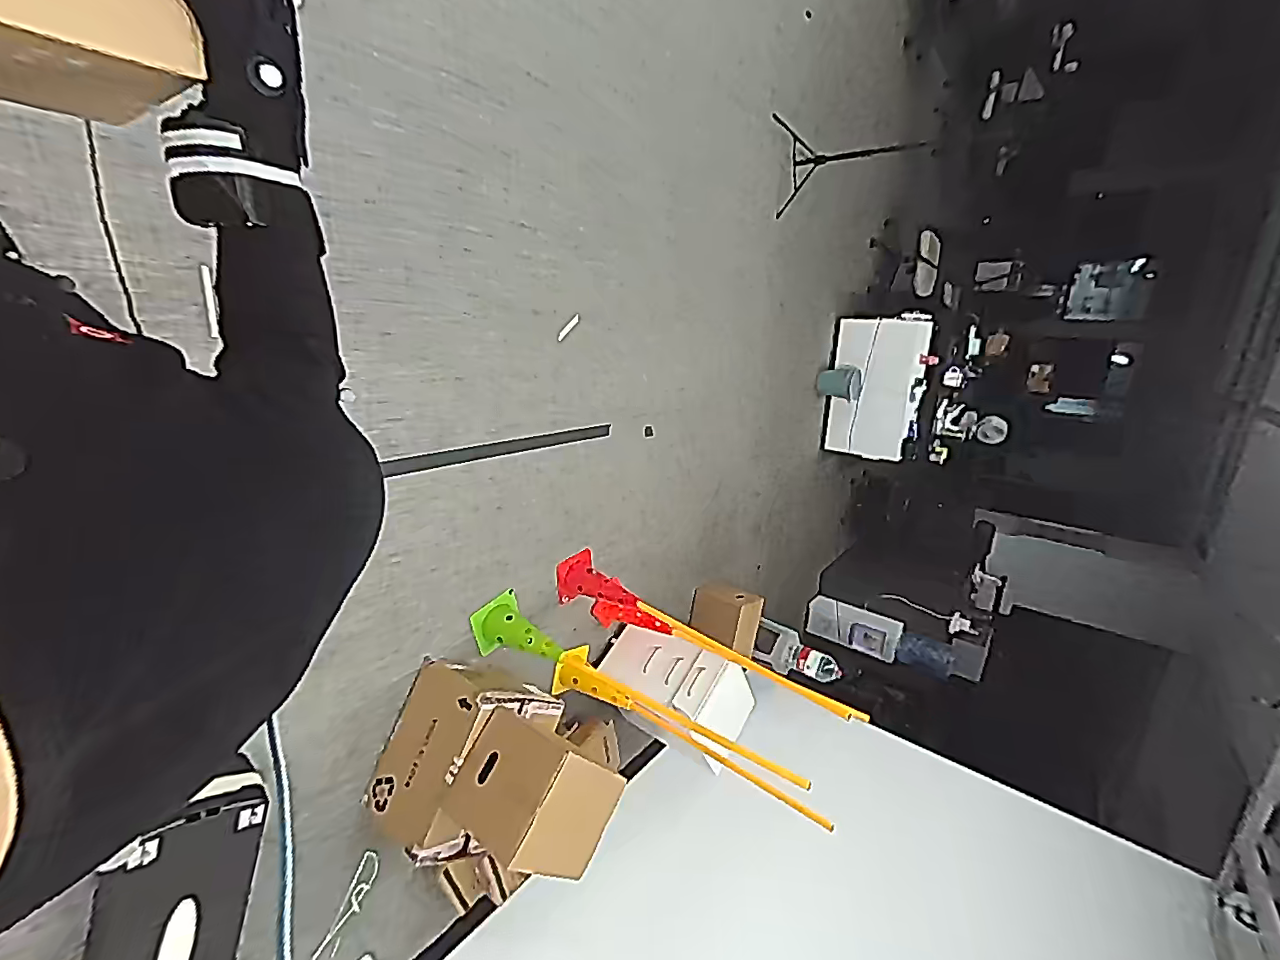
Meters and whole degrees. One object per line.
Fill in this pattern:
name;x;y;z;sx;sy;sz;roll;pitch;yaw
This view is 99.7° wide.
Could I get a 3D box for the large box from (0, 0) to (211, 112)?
large box;-0.525;-0.432;0.268;0.408;0.320;0.320;-17;120;-49
